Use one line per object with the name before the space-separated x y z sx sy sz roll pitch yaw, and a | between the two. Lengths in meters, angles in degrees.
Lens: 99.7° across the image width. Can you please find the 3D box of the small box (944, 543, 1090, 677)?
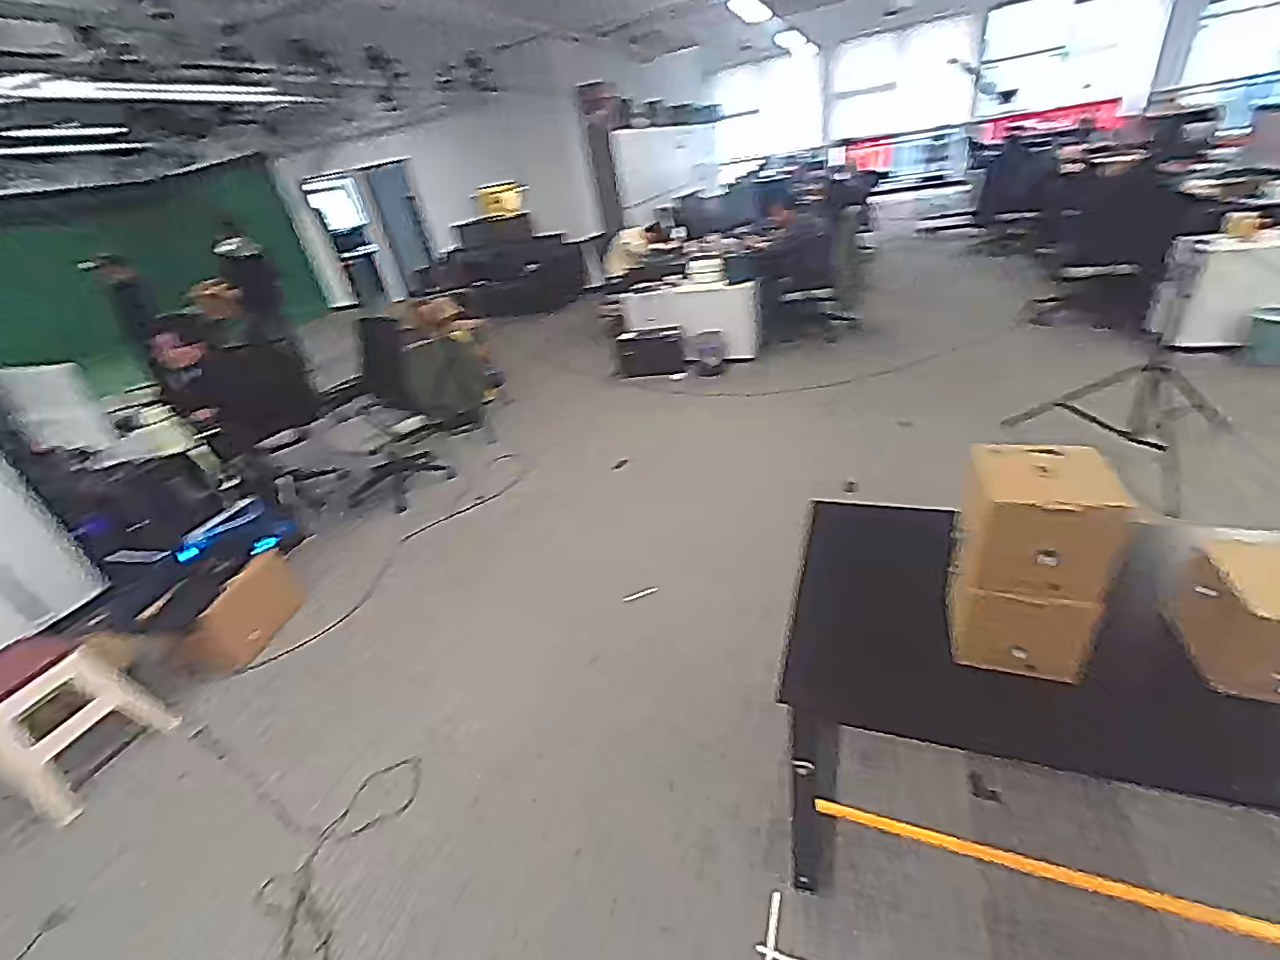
small box | 0.628 0.201 0.926 0.168 0.176 0.179 3 33 23

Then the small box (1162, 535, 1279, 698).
small box | 0.949 0.206 0.819 0.168 0.176 0.179 1 33 22

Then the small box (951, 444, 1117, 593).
small box | 0.602 0.057 0.852 0.168 0.176 0.179 2 33 21
